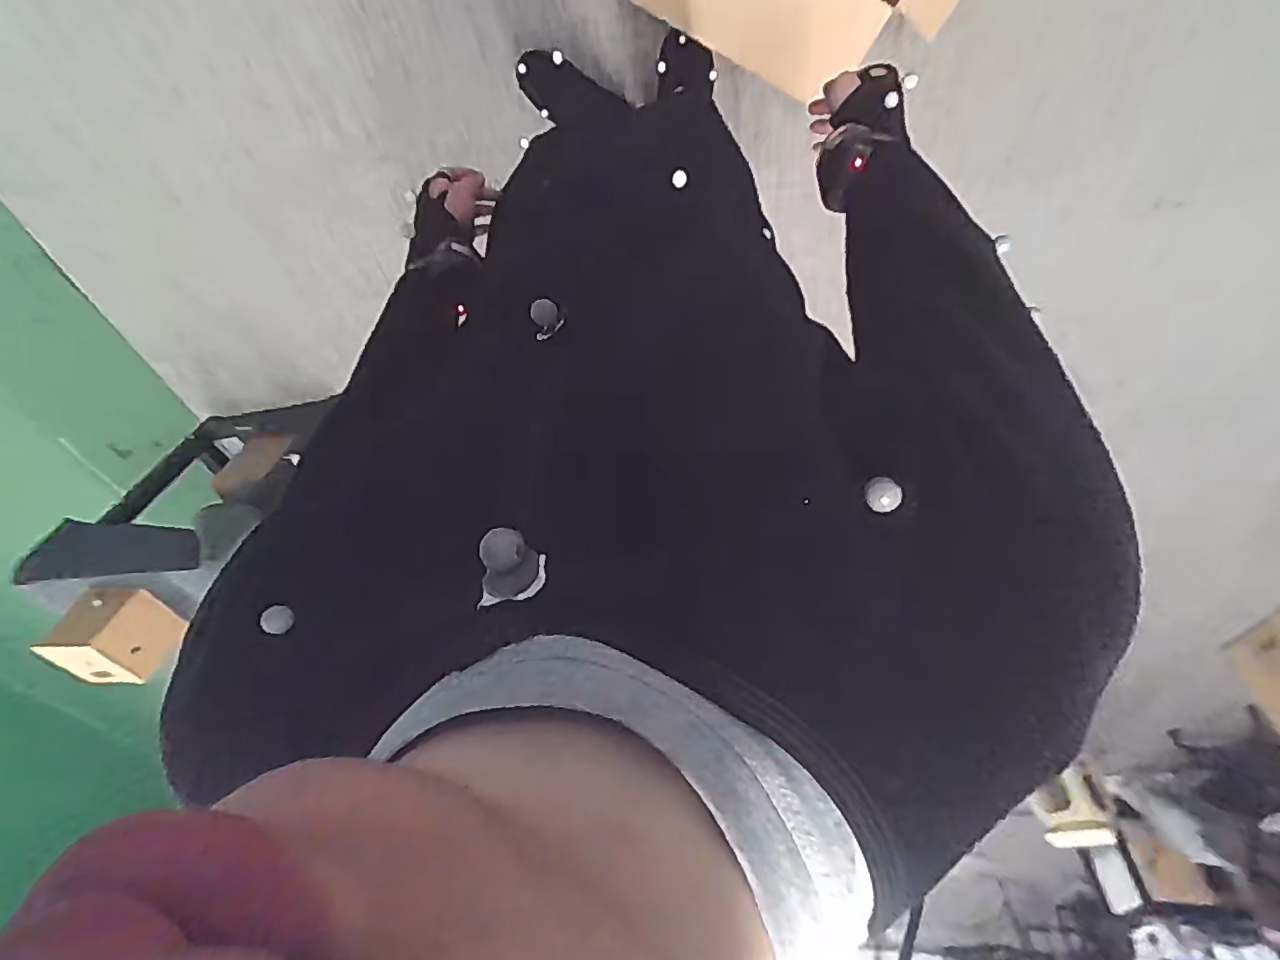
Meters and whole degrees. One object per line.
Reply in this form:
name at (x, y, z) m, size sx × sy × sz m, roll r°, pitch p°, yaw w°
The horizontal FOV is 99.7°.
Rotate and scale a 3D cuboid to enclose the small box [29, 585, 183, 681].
small box at (-1.316, 0.381, 1.350) m, size 0.168 × 0.176 × 0.179 m, roll -3°, pitch 132°, yaw 9°
